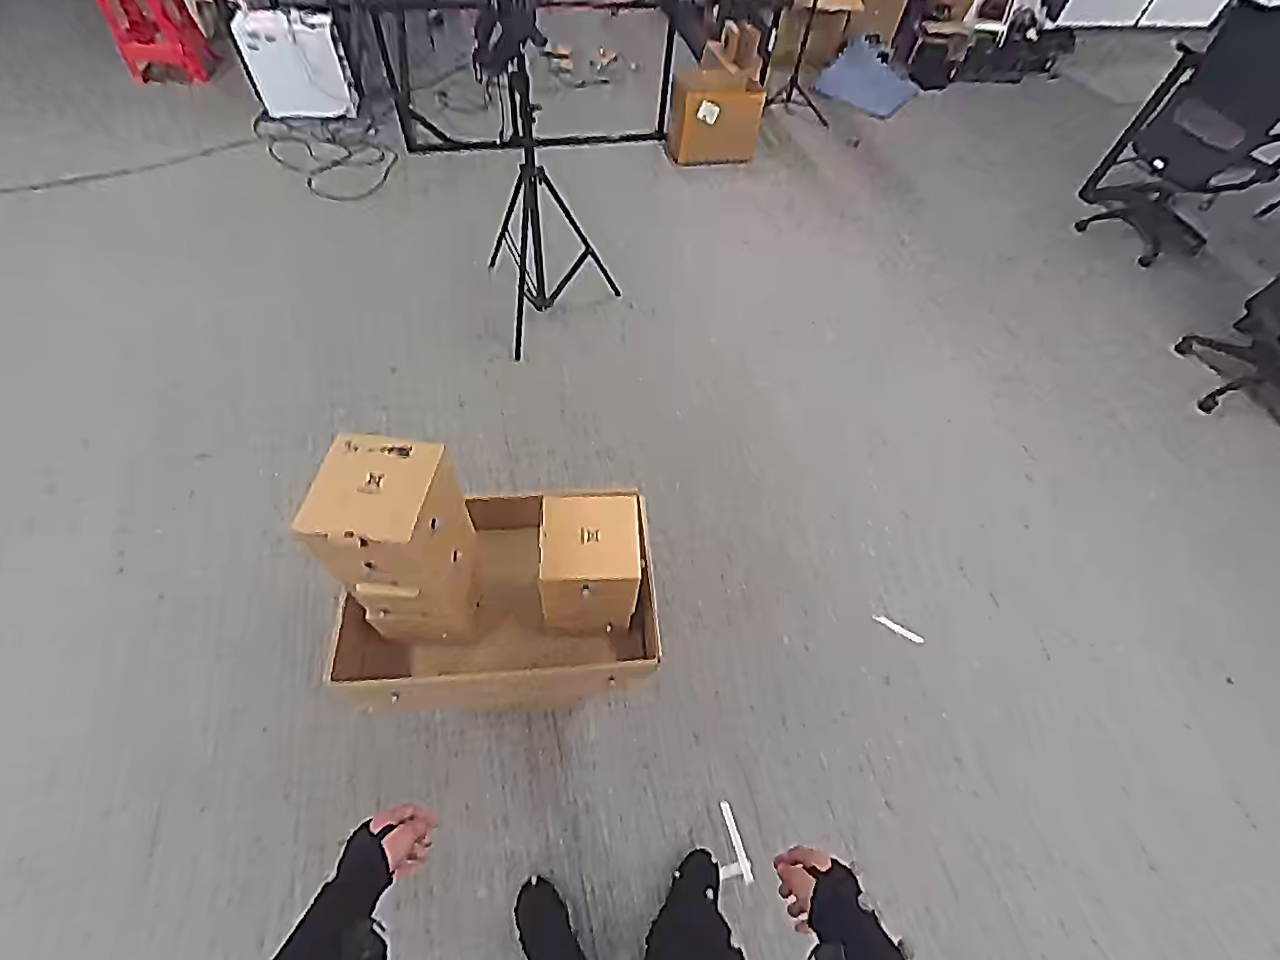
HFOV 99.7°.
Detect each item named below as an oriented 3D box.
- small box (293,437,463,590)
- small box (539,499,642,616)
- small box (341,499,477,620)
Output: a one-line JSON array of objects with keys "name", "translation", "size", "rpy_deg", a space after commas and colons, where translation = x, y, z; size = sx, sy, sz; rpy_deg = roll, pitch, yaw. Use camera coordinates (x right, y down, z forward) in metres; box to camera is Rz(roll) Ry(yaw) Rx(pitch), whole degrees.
[{"name": "small box", "translation": [-0.393, 0.058, 0.852], "size": [0.168, 0.176, 0.179], "rpy_deg": [7, 56, -1]}, {"name": "small box", "translation": [-0.093, 0.150, 1.019], "size": [0.179, 0.176, 0.168], "rpy_deg": [-1, 55, -5]}, {"name": "small box", "translation": [-0.408, 0.145, 0.991], "size": [0.168, 0.176, 0.179], "rpy_deg": [4, 55, -3]}]
